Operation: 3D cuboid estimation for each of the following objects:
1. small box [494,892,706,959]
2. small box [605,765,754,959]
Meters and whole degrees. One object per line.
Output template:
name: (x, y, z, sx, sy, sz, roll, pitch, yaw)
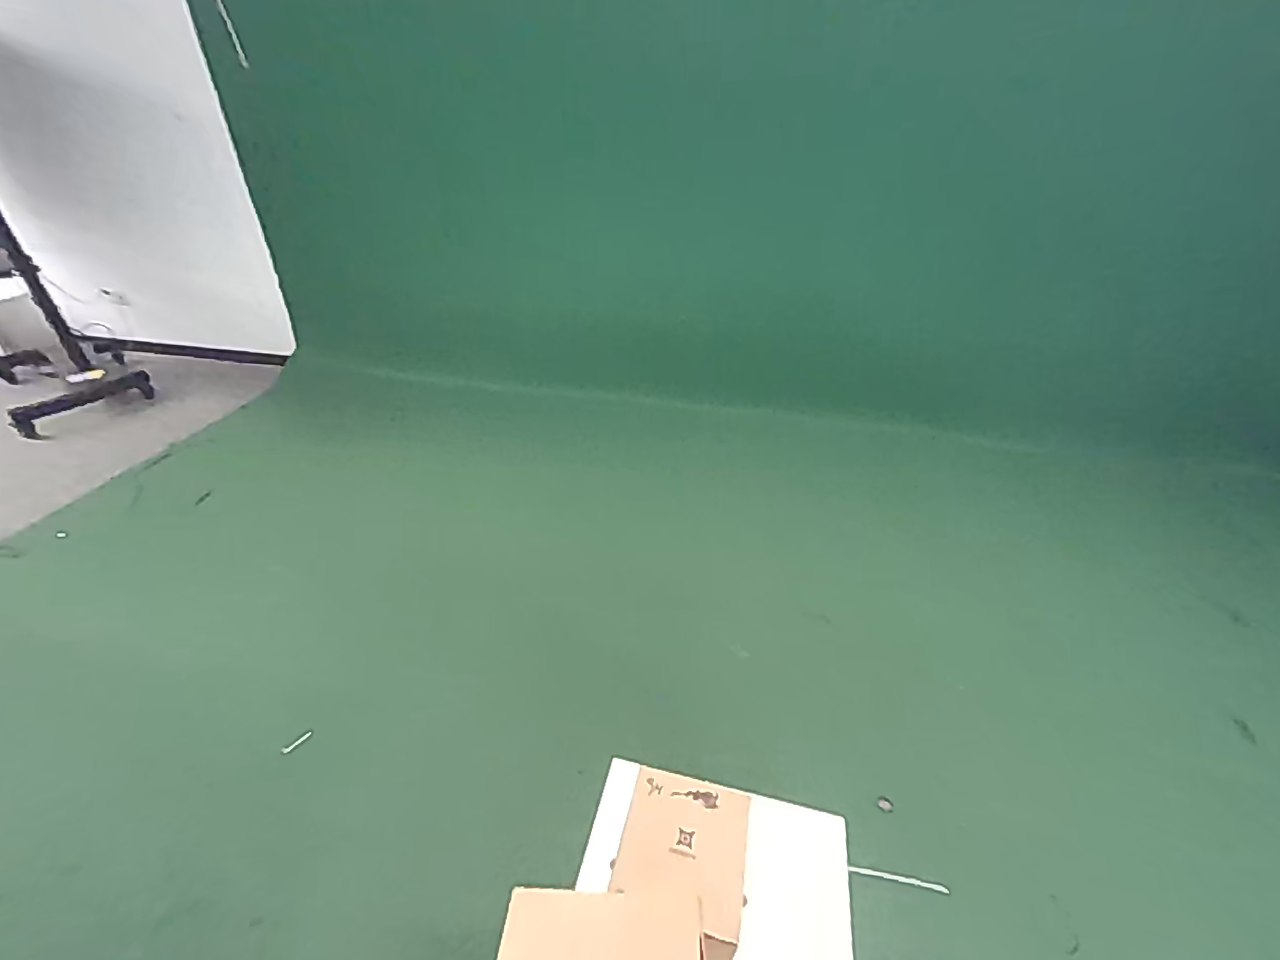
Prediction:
small box: (-0.031, 0.480, 0.449, 0.179, 0.176, 0.168, -1, 29, 4)
small box: (0.055, 0.535, 0.736, 0.168, 0.176, 0.179, 10, 36, 11)
